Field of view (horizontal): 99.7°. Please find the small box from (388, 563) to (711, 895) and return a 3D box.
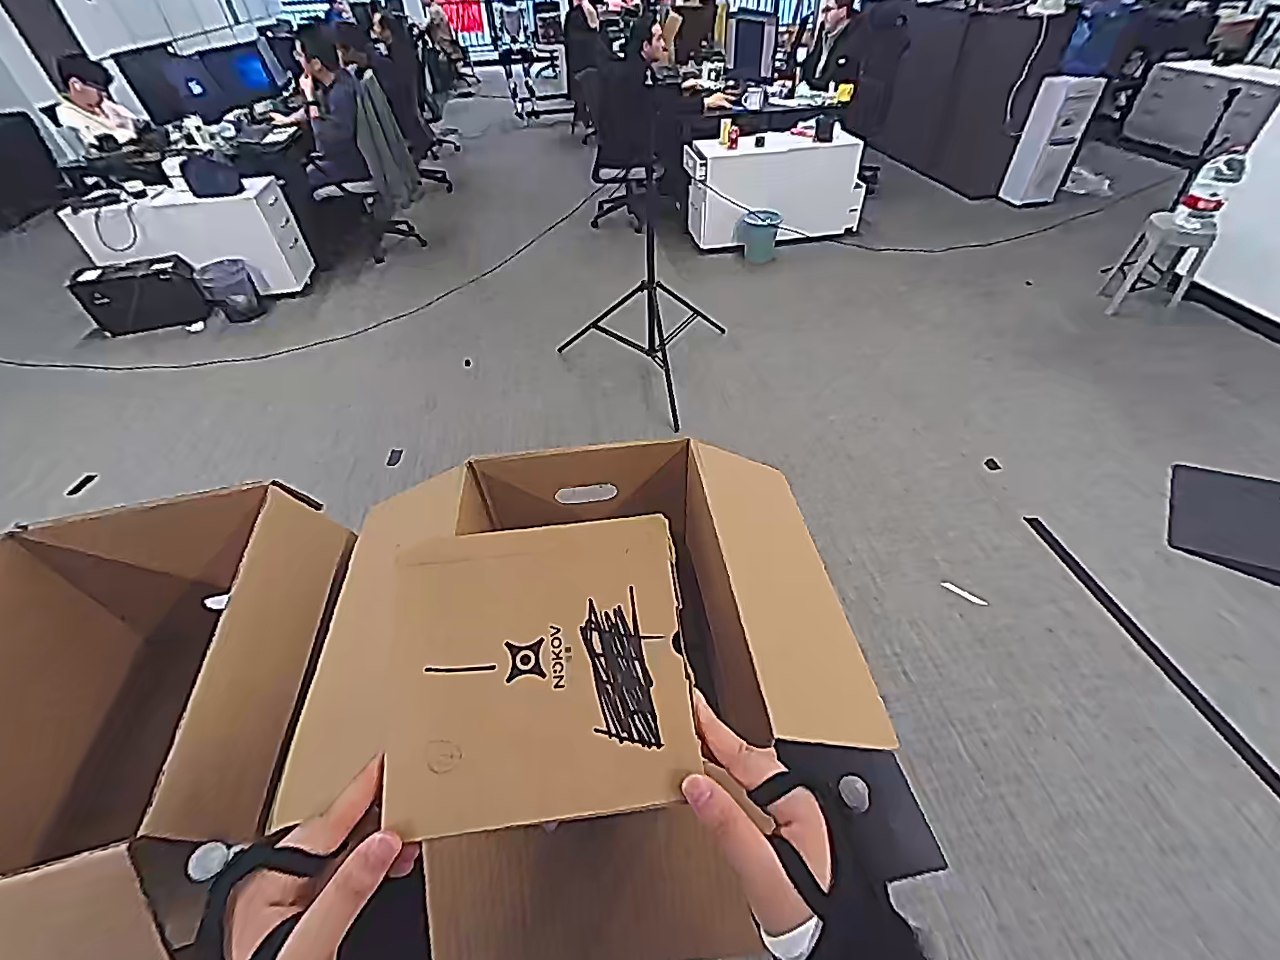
[{"bbox_3d":[-0.058,0.165,0.393,0.179,0.176,0.168,-6,67,-4],"label":"small box"}]
